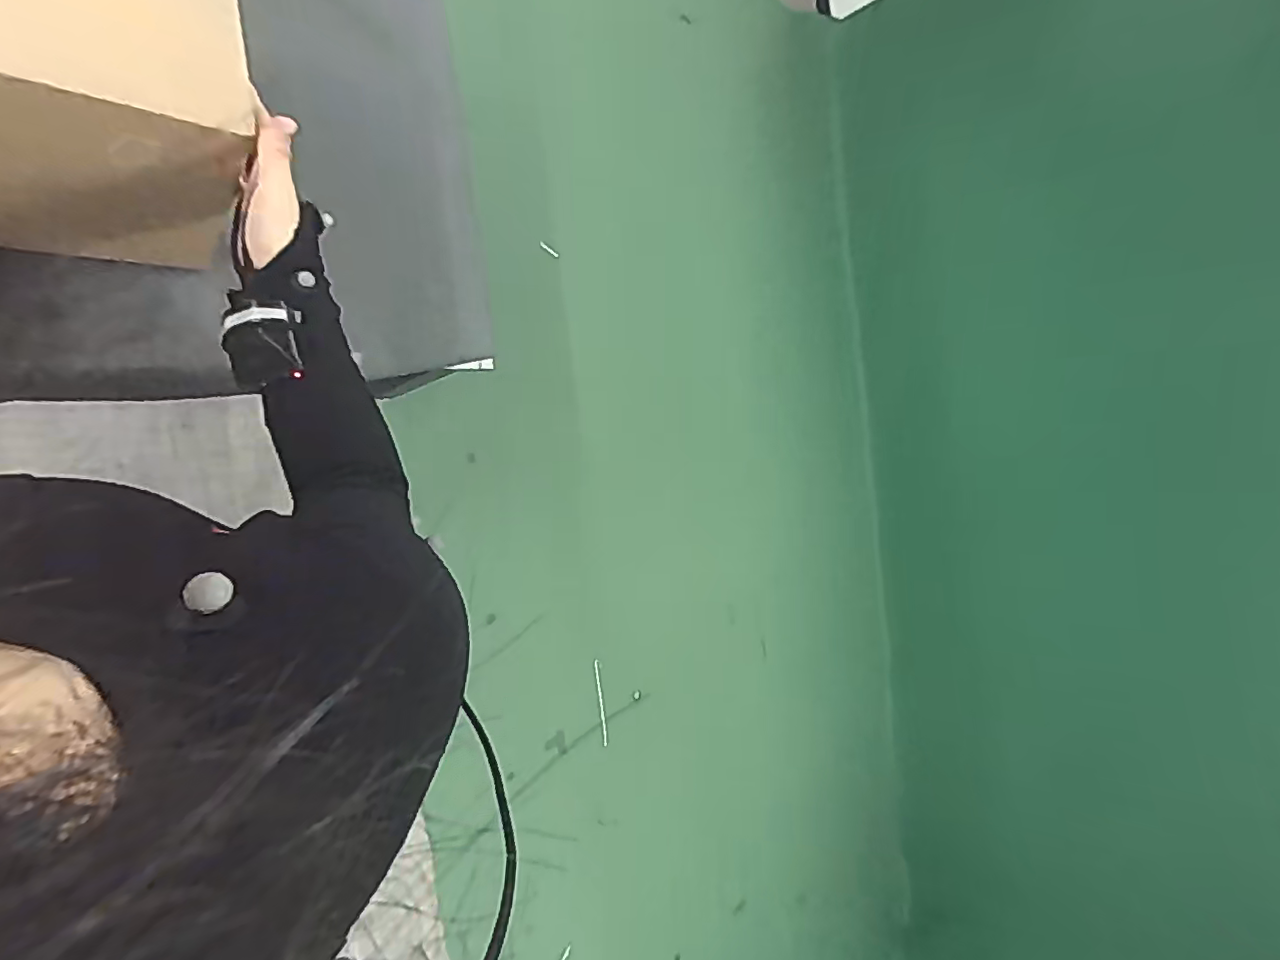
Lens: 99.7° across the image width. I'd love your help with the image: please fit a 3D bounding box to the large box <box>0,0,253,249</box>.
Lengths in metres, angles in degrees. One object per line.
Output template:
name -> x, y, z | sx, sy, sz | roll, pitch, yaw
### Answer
large box -> -0.571, -0.396, 0.385 | 0.408, 0.320, 0.320 | -11, 96, -45
